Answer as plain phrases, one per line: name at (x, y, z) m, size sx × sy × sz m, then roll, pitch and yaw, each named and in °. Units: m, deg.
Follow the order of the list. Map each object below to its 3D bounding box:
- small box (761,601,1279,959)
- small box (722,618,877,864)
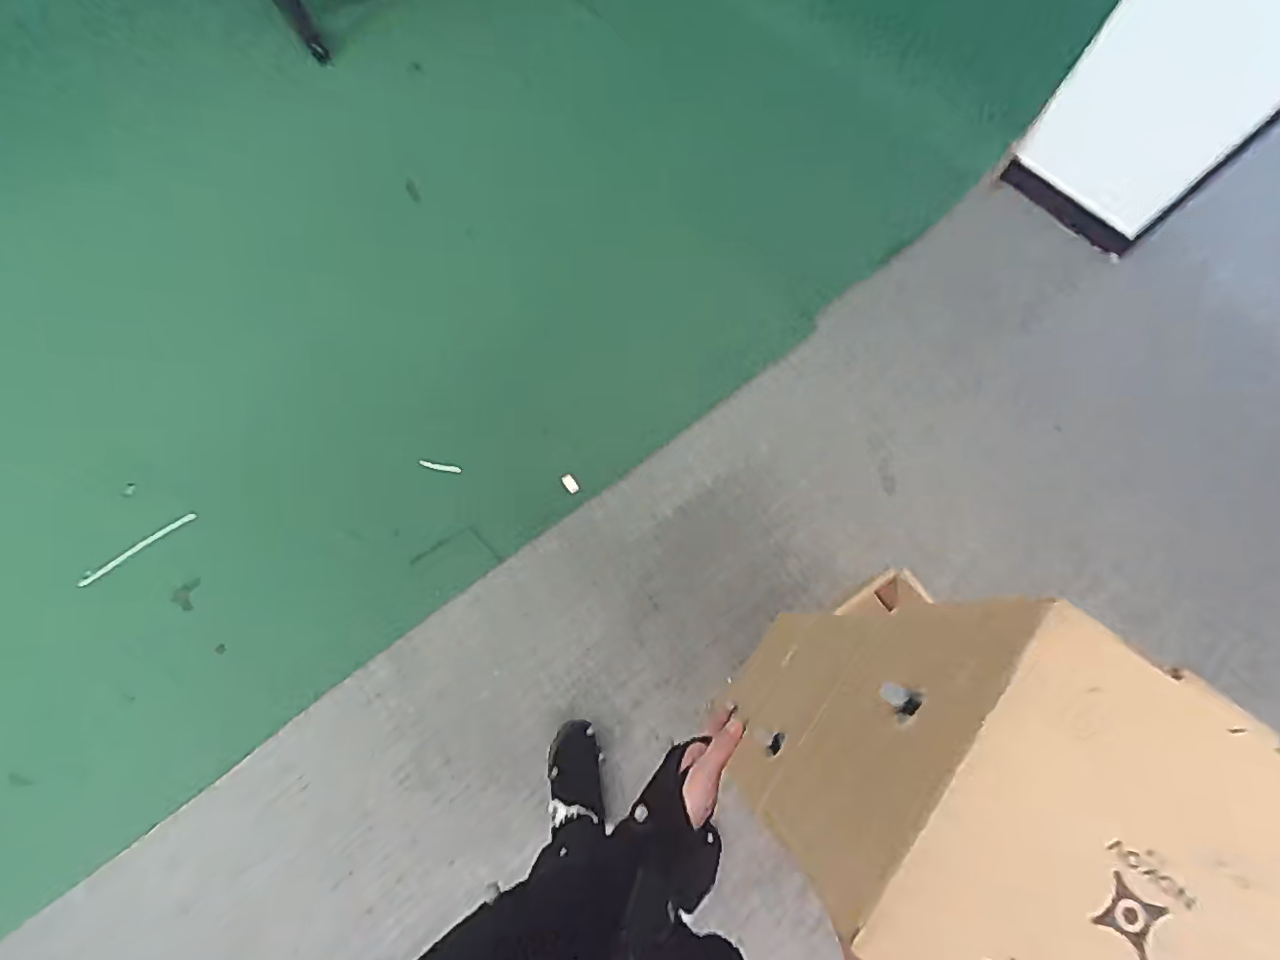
small box at (0.187, 0.186, 0.292) m, size 0.168 × 0.176 × 0.179 m, roll 36°, pitch 78°, yaw 10°
small box at (0.183, 0.235, 0.448) m, size 0.168 × 0.176 × 0.179 m, roll 37°, pitch 78°, yaw 9°
